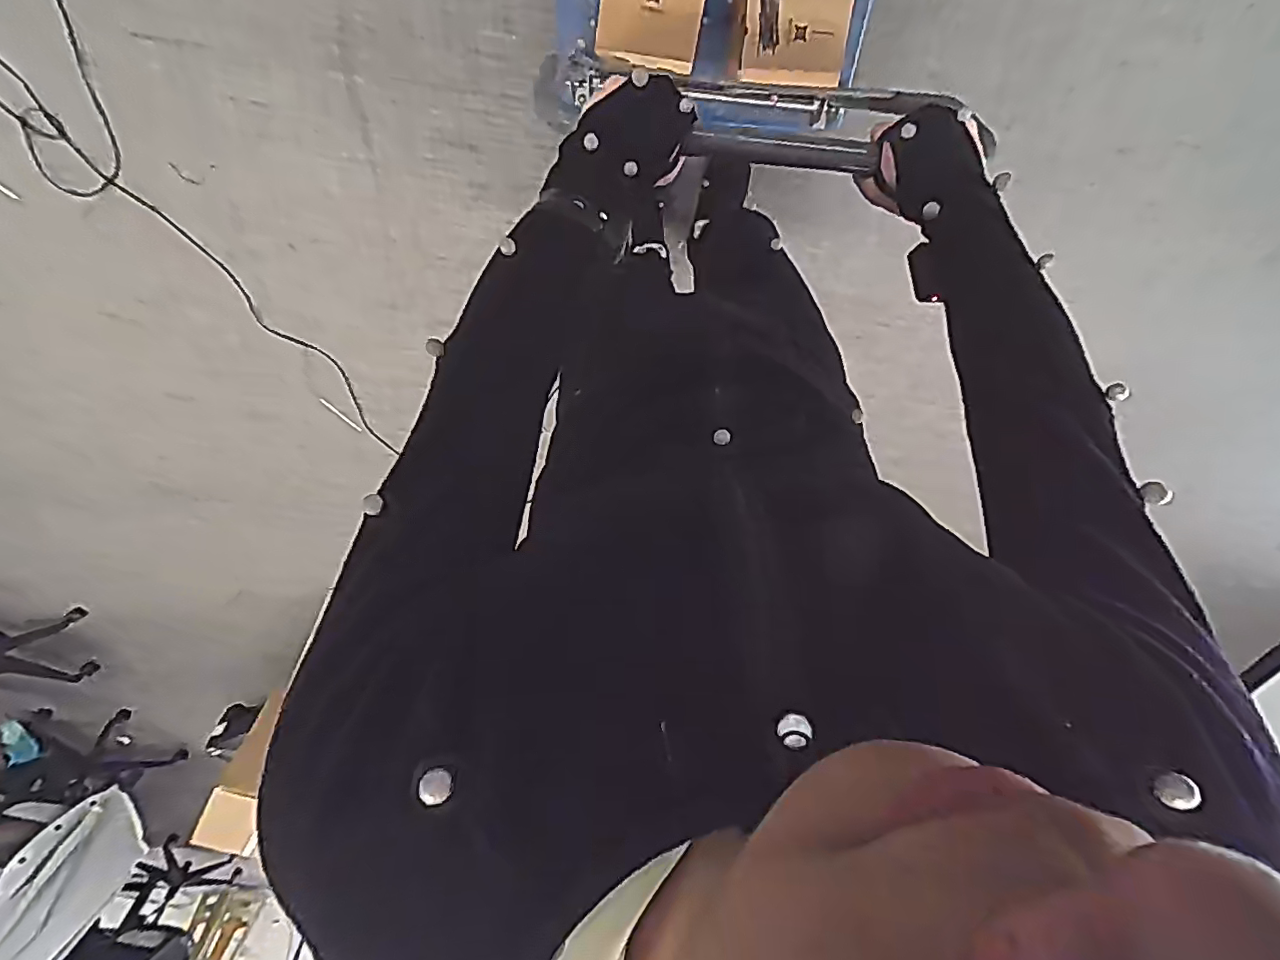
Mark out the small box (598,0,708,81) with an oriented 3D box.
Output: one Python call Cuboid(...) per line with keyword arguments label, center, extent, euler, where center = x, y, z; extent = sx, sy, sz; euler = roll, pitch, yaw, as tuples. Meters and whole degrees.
Cuboid(label="small box", center=(0.022, -0.809, 0.925), extent=(0.168, 0.176, 0.179), euler=(8, 126, -8))
